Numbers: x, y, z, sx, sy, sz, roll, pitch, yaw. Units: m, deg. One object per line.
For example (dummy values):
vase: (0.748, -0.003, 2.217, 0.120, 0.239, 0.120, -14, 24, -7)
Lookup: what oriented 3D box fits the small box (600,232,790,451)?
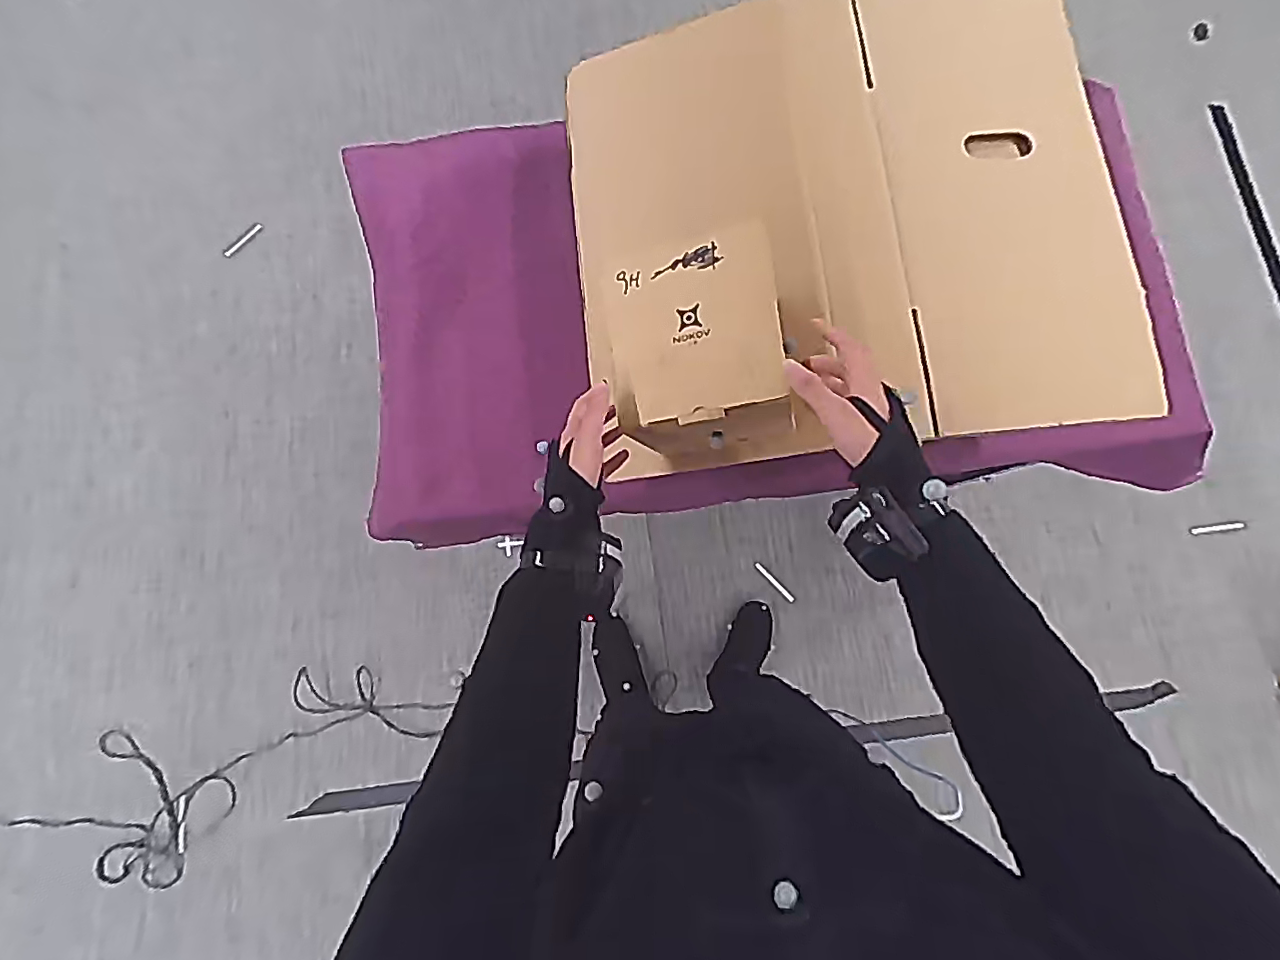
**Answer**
small box: (0.069, -0.131, 0.594, 0.168, 0.176, 0.179, -9, 82, 16)
